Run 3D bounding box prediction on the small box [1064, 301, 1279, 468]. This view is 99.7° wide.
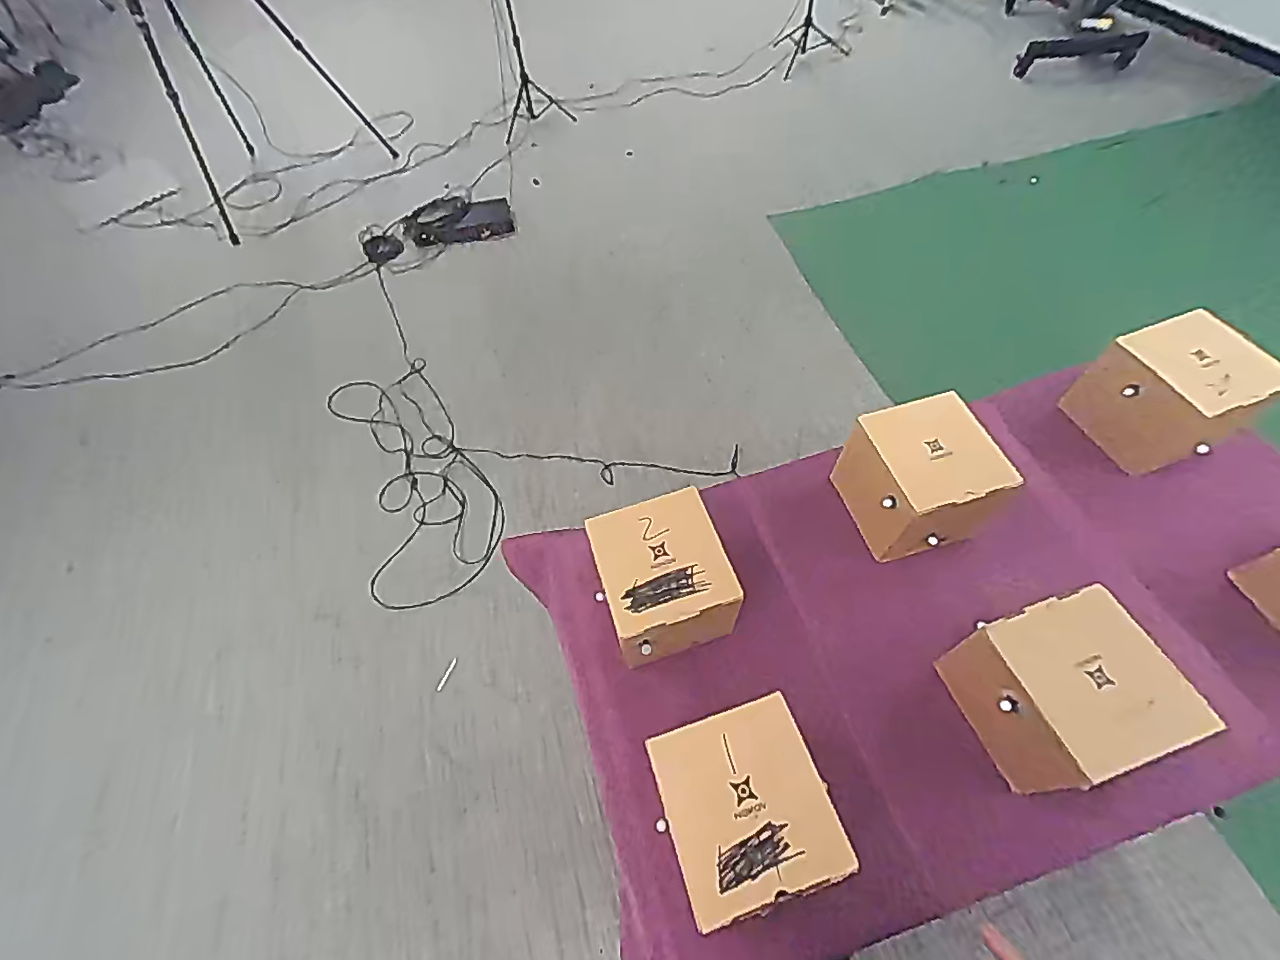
[{"bbox_3d":[0.855,-0.151,0.879,0.168,0.176,0.179,-20,59,-3],"label":"small box"}]

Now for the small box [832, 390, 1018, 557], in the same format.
[{"bbox_3d":[0.423,-0.006,0.844,0.168,0.176,0.179,-16,60,-4],"label":"small box"}]

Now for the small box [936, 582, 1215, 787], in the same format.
[{"bbox_3d":[0.509,0.258,0.671,0.168,0.176,0.179,-18,57,-4],"label":"small box"}]

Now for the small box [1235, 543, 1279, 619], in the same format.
[{"bbox_3d":[0.960,0.134,0.693,0.168,0.176,0.179,-18,58,-3],"label":"small box"}]

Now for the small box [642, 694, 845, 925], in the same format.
[{"bbox_3d":[0.112,0.379,0.637,0.168,0.176,0.179,-18,56,-5],"label":"small box"}]
